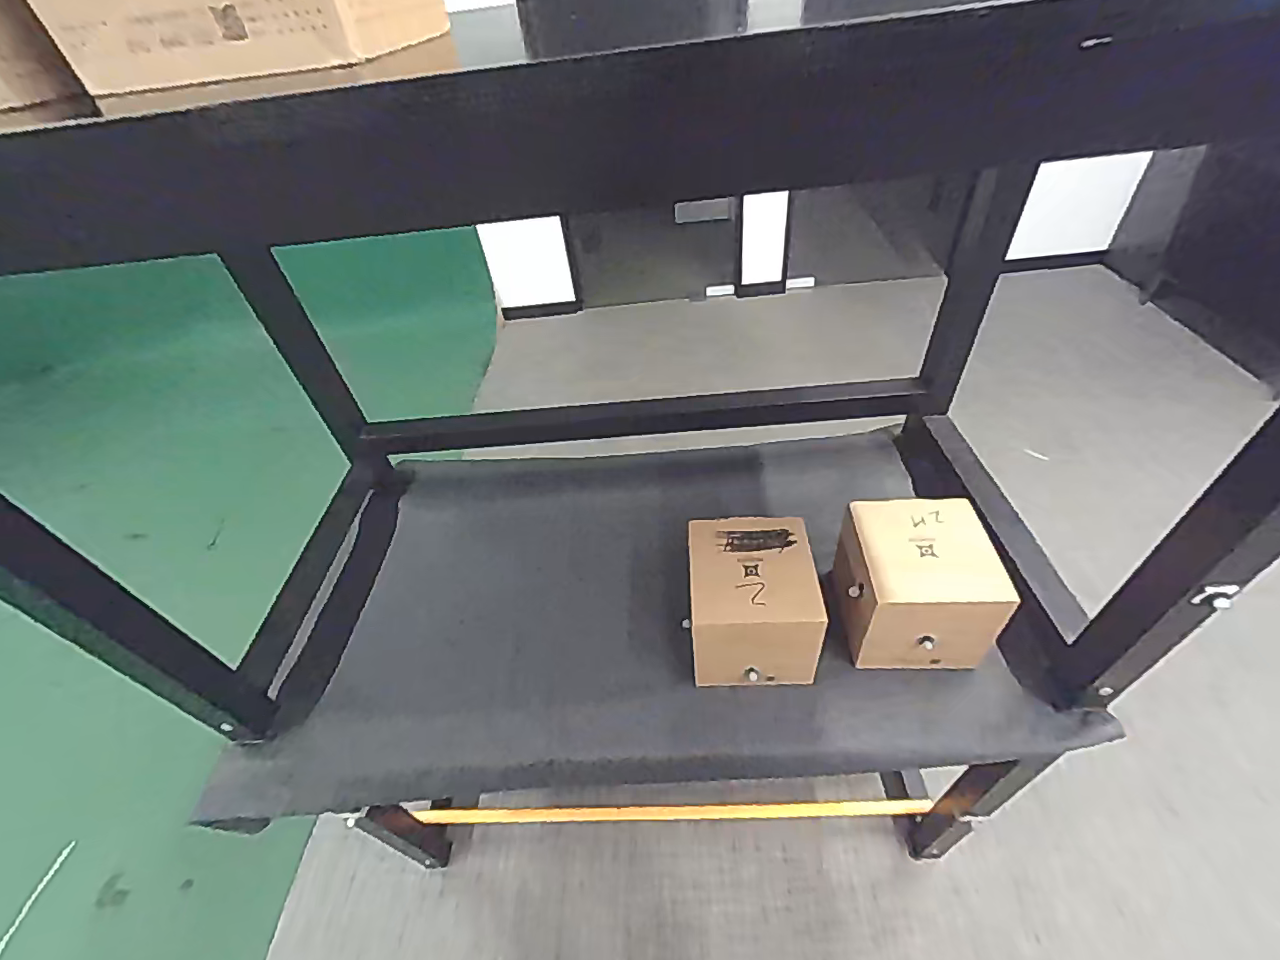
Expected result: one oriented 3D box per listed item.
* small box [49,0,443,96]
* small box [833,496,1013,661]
[{"bbox_3d":[-0.237,-0.338,0.310,0.168,0.176,0.179,-2,44,6],"label":"small box"},{"bbox_3d":[0.384,0.143,0.772,0.168,0.176,0.179,-1,44,7],"label":"small box"}]
